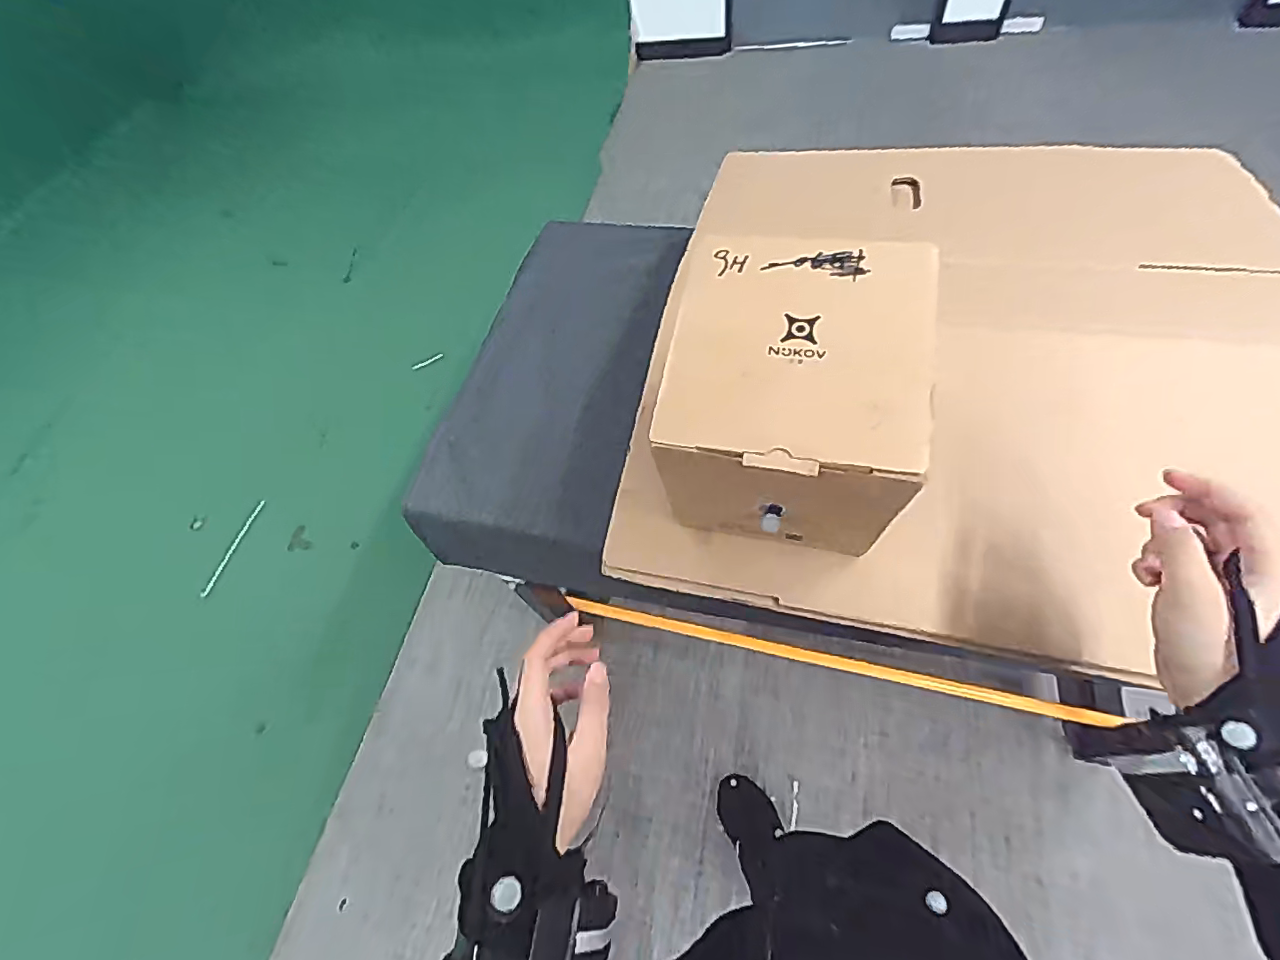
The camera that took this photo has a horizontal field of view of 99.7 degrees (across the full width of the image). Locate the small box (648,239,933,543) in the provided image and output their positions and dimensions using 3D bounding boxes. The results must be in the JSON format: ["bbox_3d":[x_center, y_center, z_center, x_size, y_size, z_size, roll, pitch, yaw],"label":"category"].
[{"bbox_3d":[0.115,-0.060,0.430,0.168,0.176,0.179,8,70,14],"label":"small box"}]
